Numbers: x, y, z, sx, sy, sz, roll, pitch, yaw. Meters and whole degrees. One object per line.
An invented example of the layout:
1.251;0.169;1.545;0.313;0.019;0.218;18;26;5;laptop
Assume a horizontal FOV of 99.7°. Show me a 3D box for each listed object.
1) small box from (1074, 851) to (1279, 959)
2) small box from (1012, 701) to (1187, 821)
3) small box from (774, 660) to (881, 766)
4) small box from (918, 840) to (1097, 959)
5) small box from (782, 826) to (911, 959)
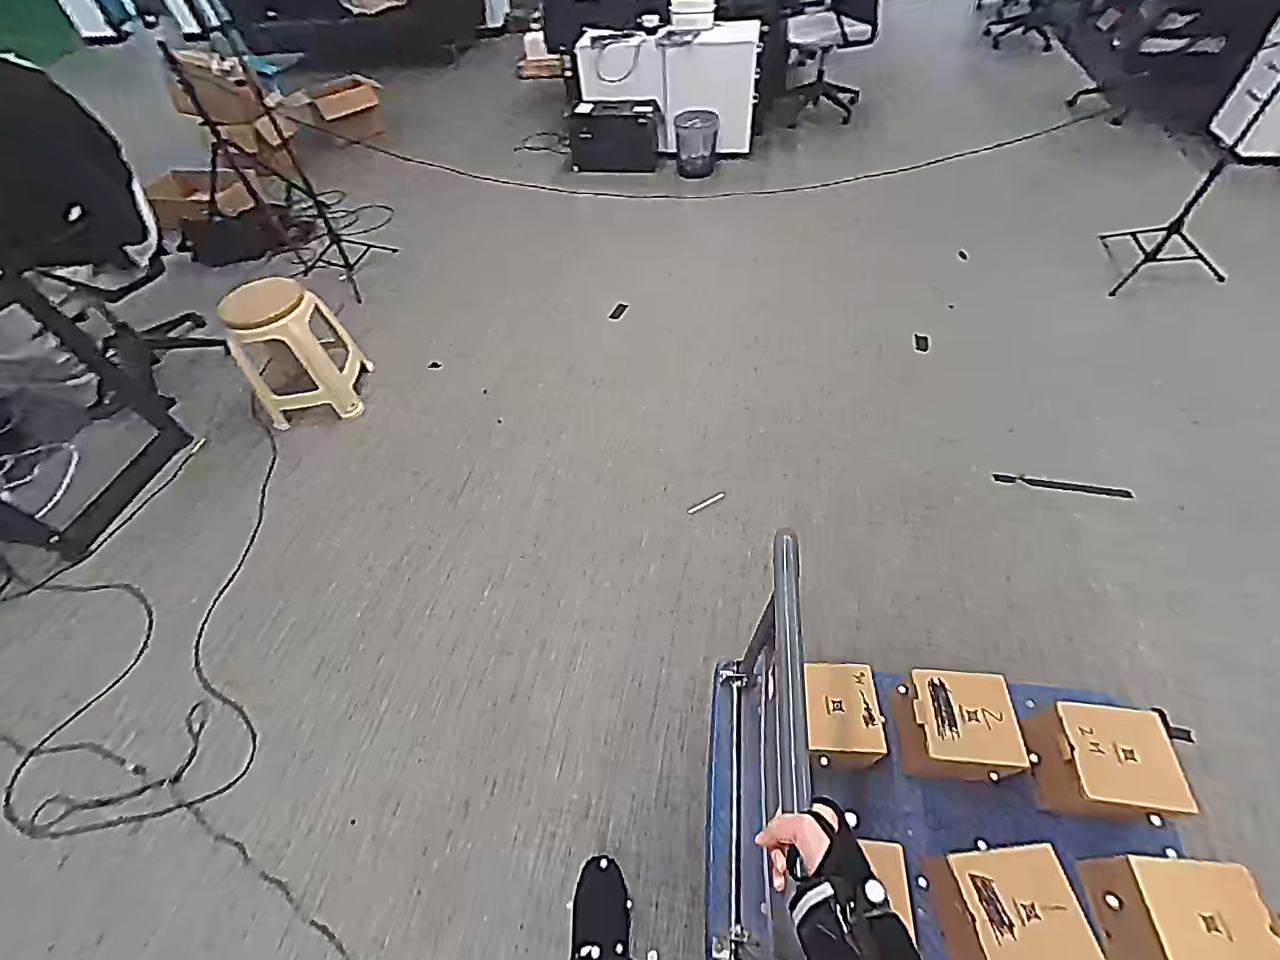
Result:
0.874;0.731;0.898;0.179;0.176;0.168;1;52;5;small box
0.865;0.545;1.041;0.179;0.176;0.168;5;52;8;small box
0.377;0.487;1.125;0.179;0.176;0.168;1;53;5;small box
0.602;0.727;0.921;0.179;0.176;0.168;-5;52;-1;small box
0.345;0.723;0.945;0.179;0.176;0.168;4;53;7;small box
